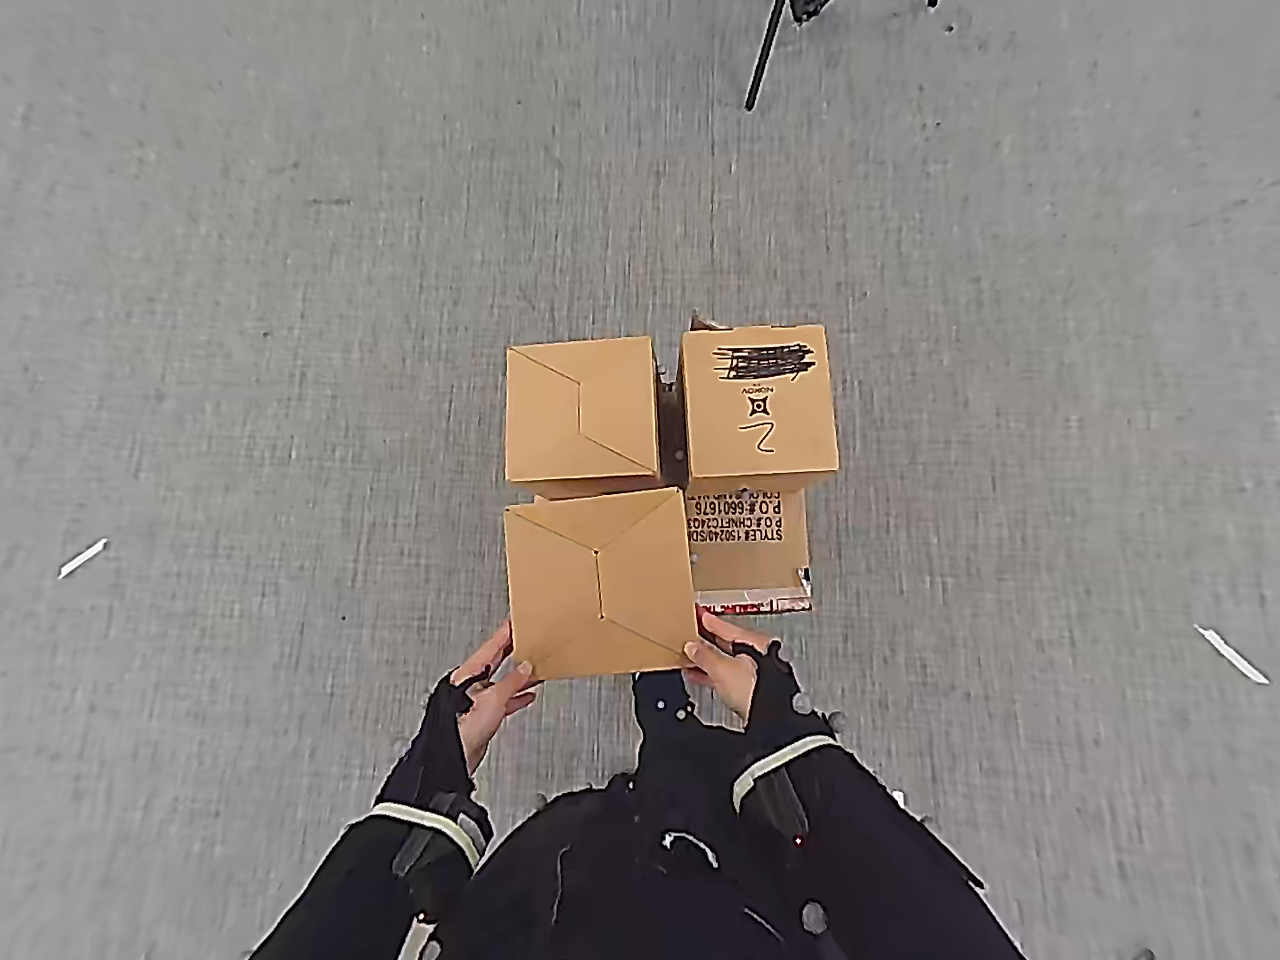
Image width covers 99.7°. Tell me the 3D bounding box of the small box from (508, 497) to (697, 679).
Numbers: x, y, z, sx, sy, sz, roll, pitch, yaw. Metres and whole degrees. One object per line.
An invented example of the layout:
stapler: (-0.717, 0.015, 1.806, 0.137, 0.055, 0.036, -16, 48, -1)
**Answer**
small box: (-0.035, 0.114, 0.595, 0.179, 0.176, 0.168, -6, 82, 3)
